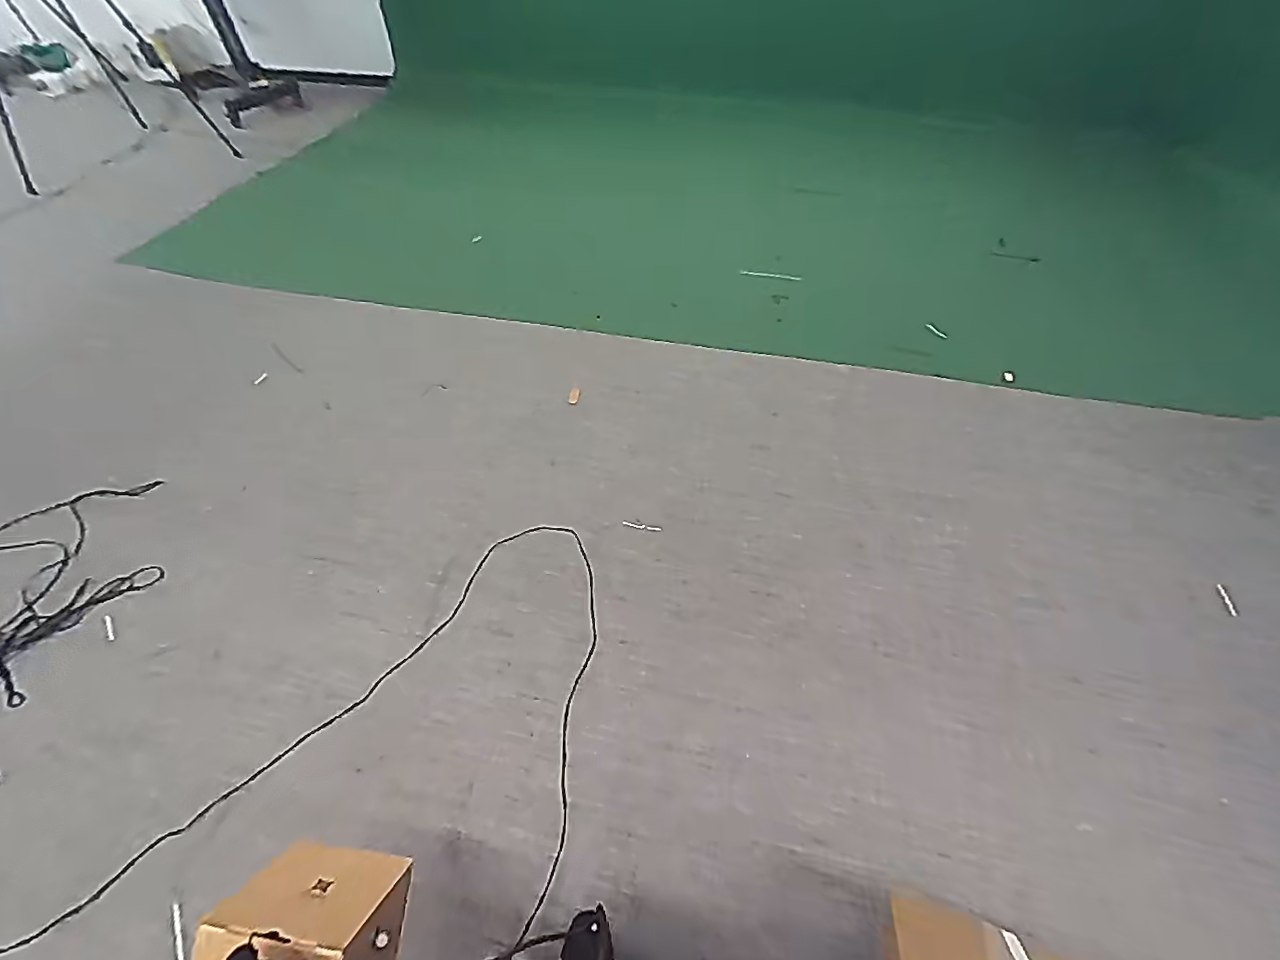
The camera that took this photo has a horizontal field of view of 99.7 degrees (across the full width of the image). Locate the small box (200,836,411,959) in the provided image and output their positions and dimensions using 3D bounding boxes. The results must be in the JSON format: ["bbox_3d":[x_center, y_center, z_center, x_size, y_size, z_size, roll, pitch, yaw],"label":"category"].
[{"bbox_3d":[-0.412,0.583,0.662,0.168,0.179,0.176,8,84,2],"label":"small box"}]
